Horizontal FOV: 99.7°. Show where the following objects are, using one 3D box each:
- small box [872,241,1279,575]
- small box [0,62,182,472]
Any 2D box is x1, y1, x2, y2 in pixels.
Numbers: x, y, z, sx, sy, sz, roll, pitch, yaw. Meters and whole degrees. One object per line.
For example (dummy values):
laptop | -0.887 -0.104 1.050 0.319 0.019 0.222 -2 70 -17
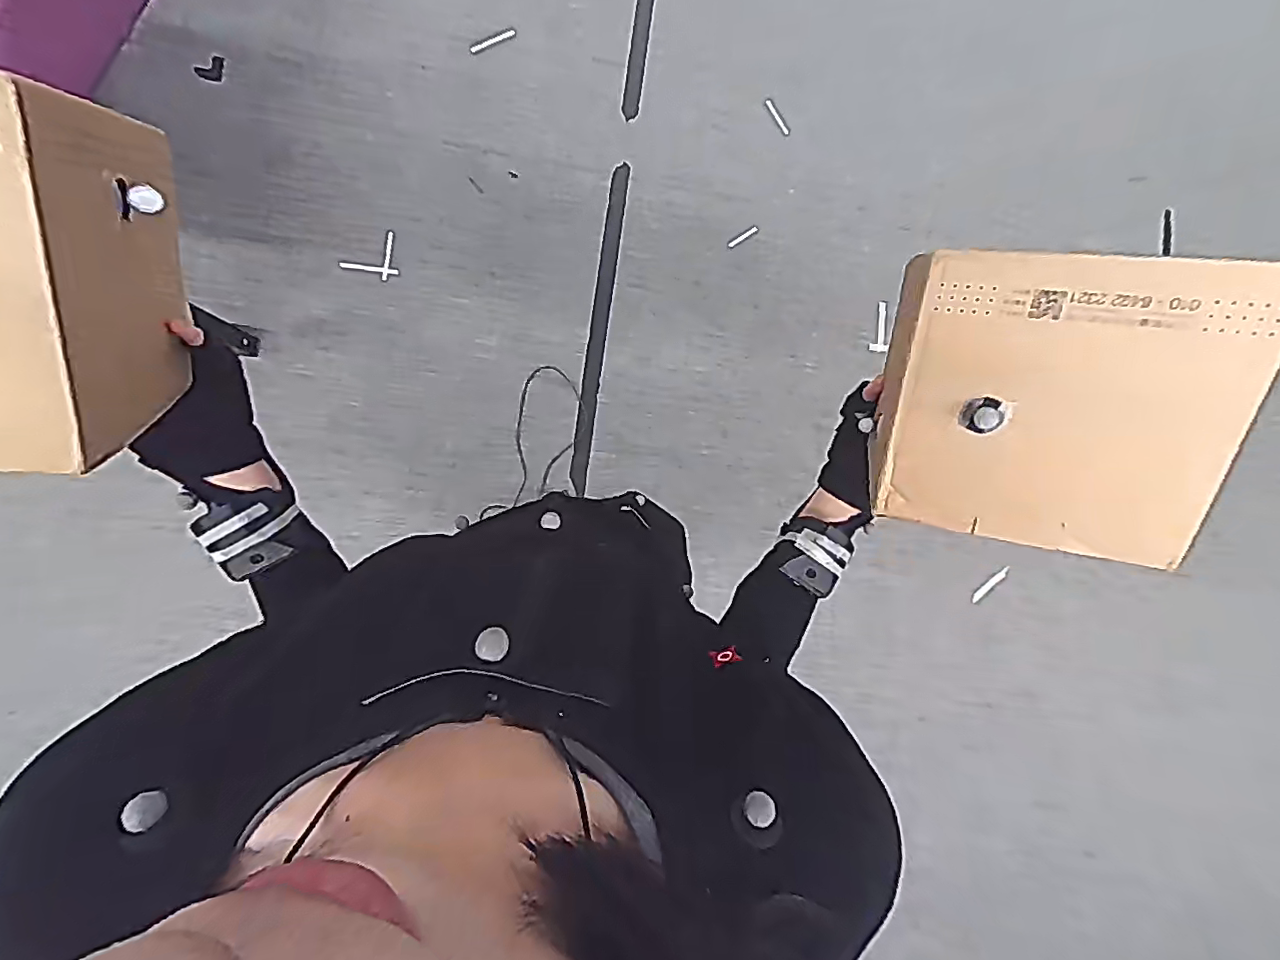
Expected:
small box | 0.263 -0.065 0.365 0.168 0.179 0.176 12 114 18
small box | -0.352 -0.113 0.255 0.168 0.179 0.176 2 113 -26
